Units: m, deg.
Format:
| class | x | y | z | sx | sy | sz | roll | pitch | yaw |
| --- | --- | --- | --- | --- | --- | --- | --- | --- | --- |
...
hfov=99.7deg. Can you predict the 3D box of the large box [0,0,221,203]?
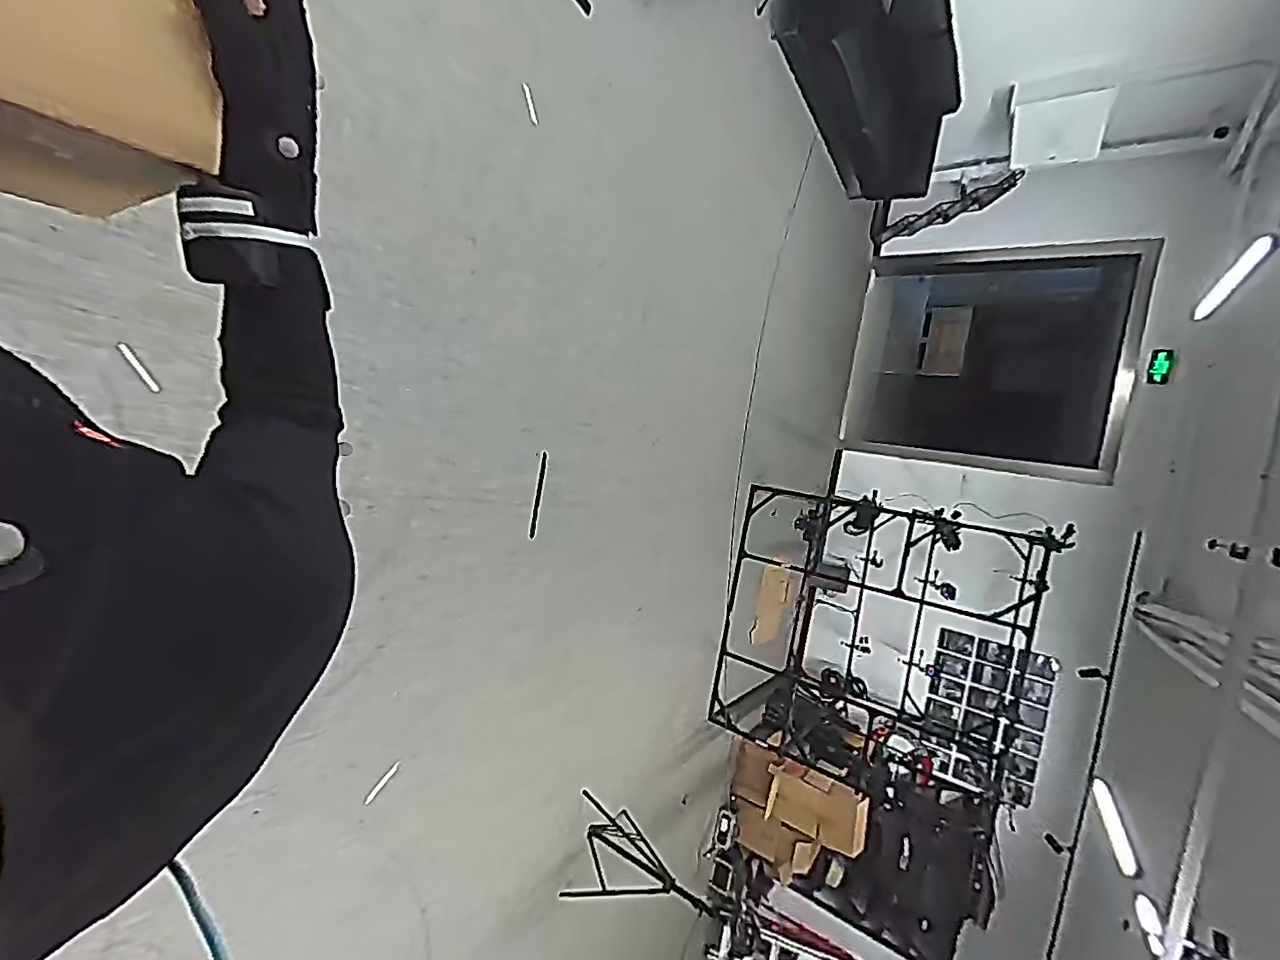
| class | x | y | z | sx | sy | sz | roll | pitch | yaw |
| --- | --- | --- | --- | --- | --- | --- | --- | --- | --- |
| large box | -0.517 | -0.392 | 0.284 | 0.408 | 0.320 | 0.320 | -3 | 103 | -56 |
